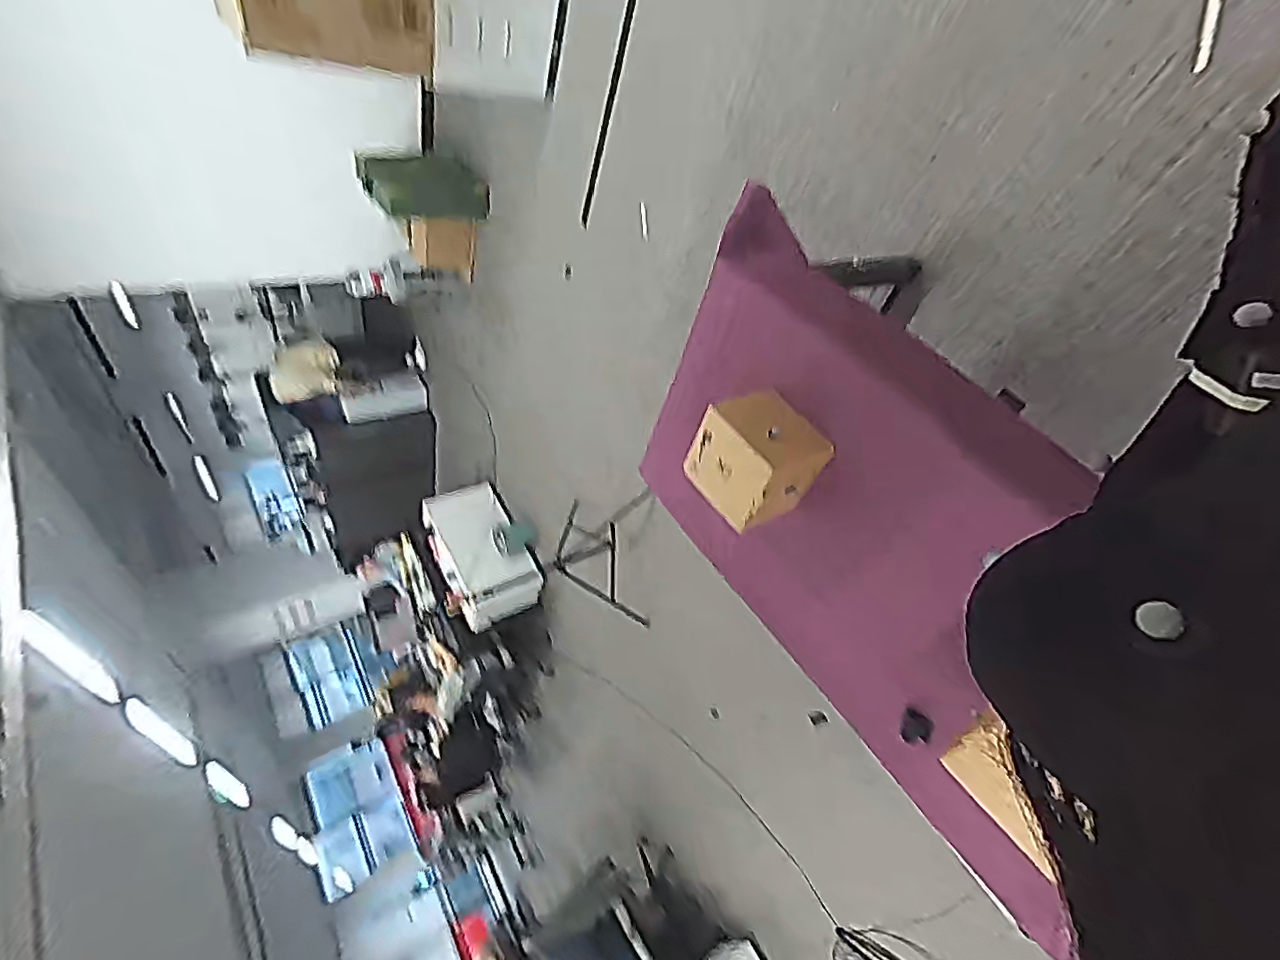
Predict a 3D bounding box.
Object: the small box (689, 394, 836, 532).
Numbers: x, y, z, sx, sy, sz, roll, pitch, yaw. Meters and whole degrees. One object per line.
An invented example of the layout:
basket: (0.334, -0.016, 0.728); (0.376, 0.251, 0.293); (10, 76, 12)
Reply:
small box: (0.226, -0.040, 1.005); (0.179, 0.176, 0.168); (50, 142, 29)

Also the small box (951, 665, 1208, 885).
small box: (0.563, 0.370, 0.705); (0.179, 0.176, 0.168); (47, 142, 32)
